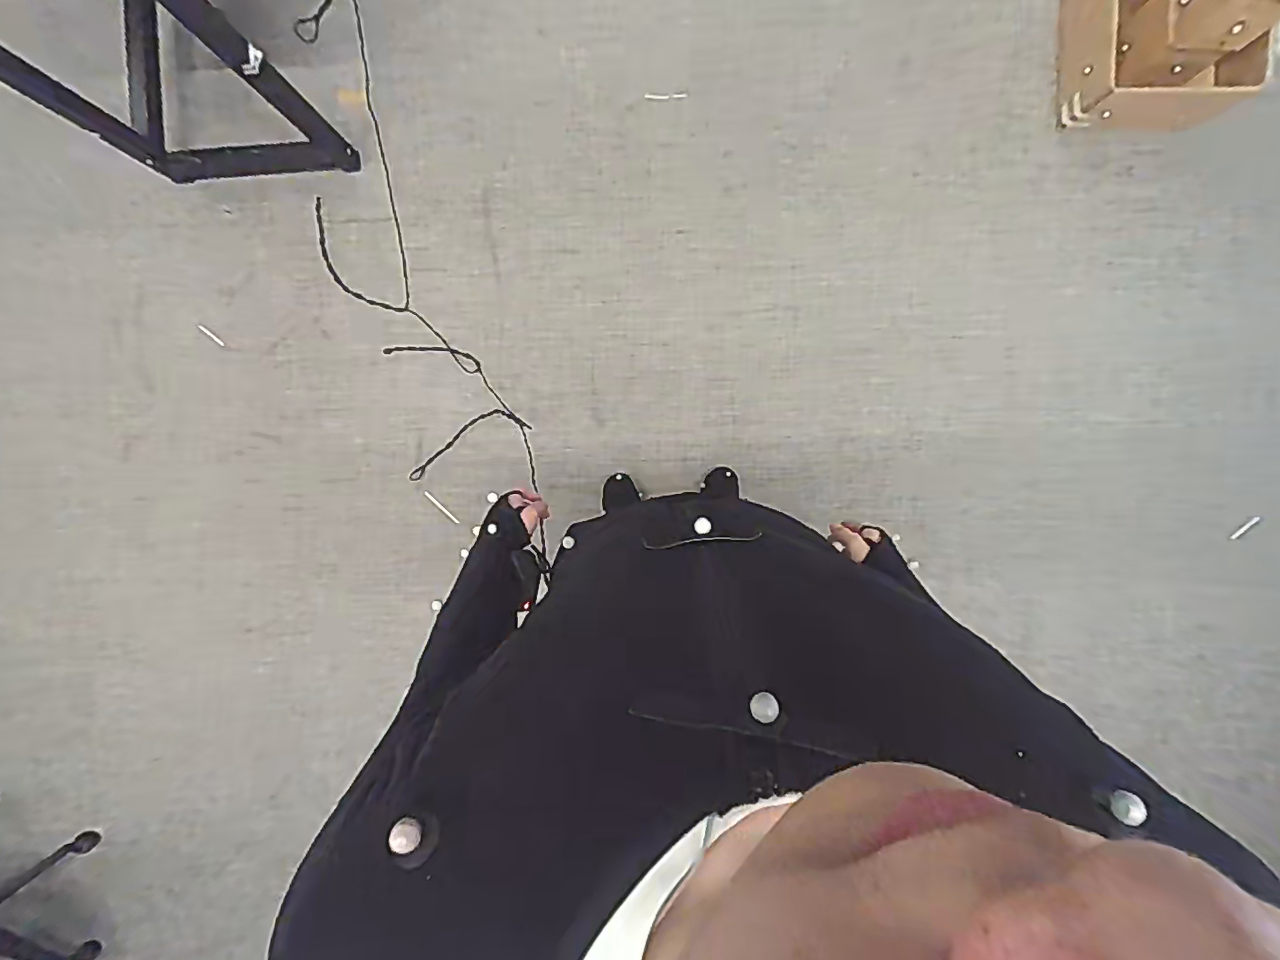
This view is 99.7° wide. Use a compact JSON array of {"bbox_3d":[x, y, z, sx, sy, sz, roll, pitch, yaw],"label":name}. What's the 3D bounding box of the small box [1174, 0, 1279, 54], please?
[{"bbox_3d":[1.407,-1.137,1.258,0.168,0.176,0.179,4,92,3],"label":"small box"}]
